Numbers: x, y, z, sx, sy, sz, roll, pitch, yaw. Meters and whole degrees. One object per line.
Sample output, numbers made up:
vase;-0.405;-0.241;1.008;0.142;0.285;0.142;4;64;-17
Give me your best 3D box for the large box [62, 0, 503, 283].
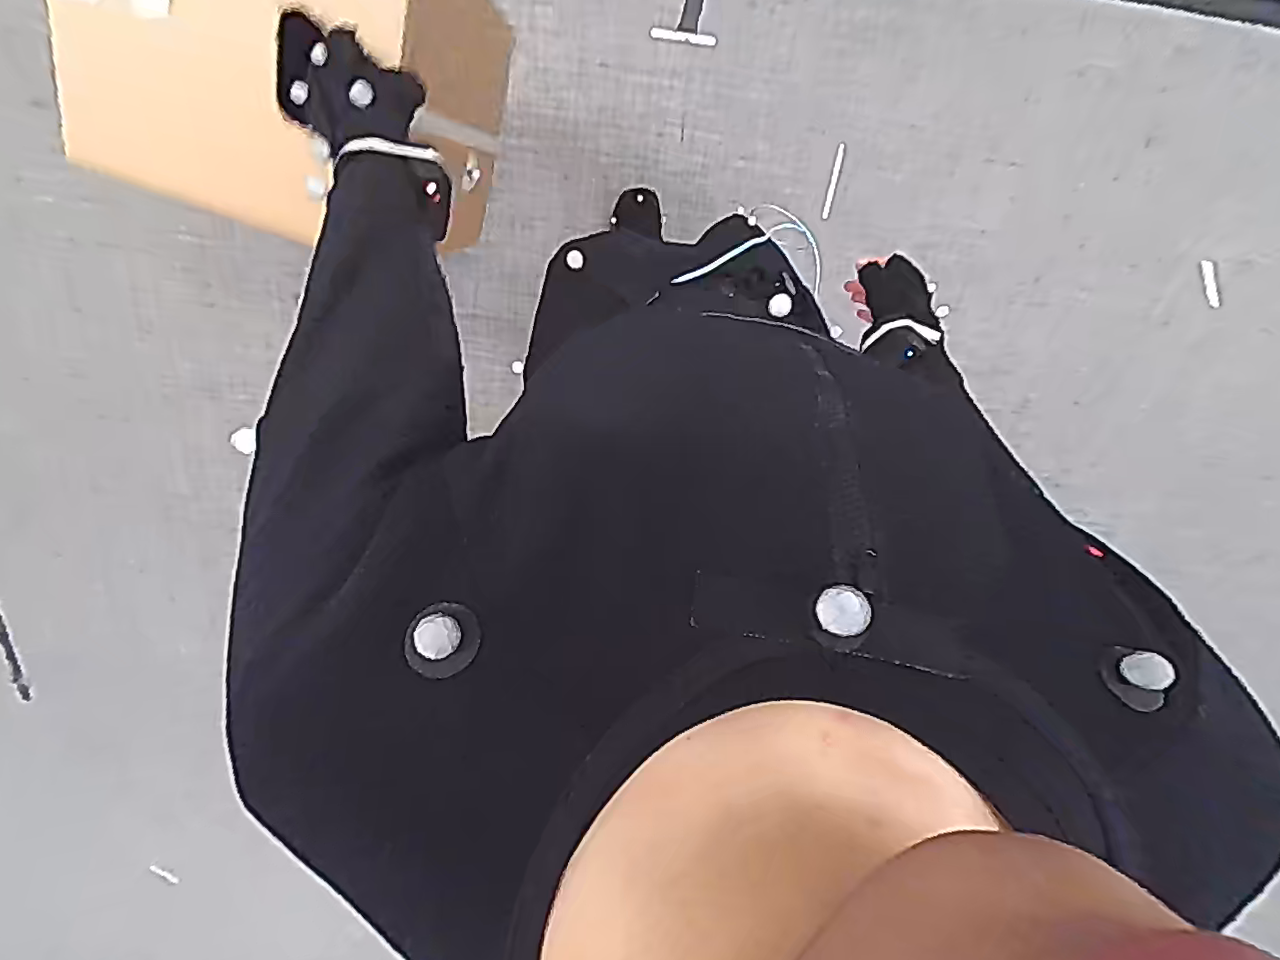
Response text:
large box;-0.390;-0.478;0.690;0.320;0.408;0.320;15;117;-9
